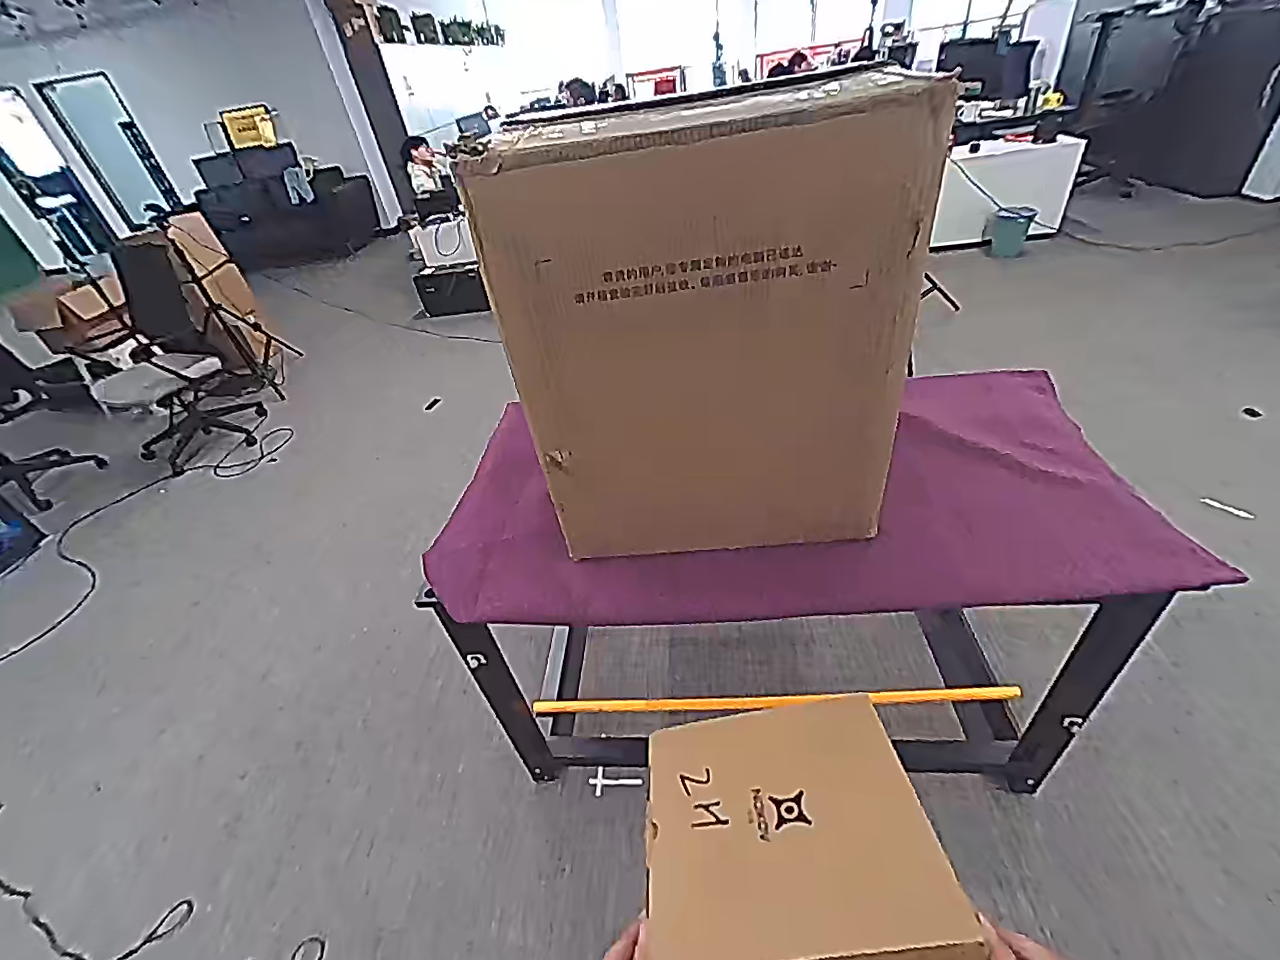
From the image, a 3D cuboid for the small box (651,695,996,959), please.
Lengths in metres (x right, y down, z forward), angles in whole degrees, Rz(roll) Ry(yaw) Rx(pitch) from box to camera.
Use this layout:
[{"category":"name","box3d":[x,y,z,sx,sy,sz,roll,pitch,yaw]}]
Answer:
[{"category":"small box","box3d":[0.113,0.285,0.374,0.179,0.176,0.168,-14,20,7]}]
